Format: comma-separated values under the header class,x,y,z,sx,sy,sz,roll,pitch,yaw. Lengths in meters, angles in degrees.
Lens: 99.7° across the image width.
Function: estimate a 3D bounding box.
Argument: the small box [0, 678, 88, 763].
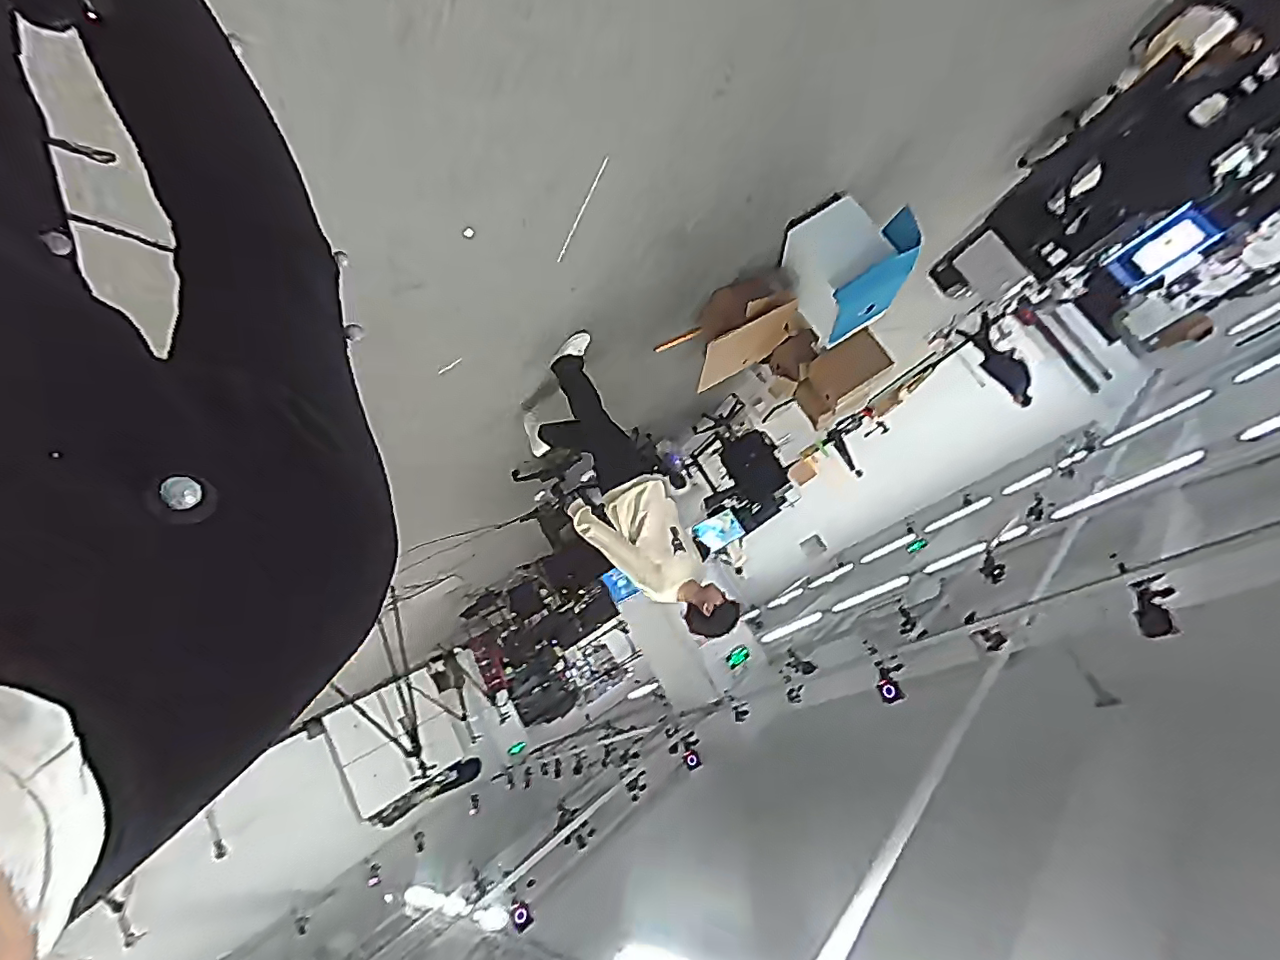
class,x,y,z,sx,sy,sz,roll,pitch,yaw
small box,-1.809,0.716,1.619,0.168,0.176,0.179,-20,164,-39
